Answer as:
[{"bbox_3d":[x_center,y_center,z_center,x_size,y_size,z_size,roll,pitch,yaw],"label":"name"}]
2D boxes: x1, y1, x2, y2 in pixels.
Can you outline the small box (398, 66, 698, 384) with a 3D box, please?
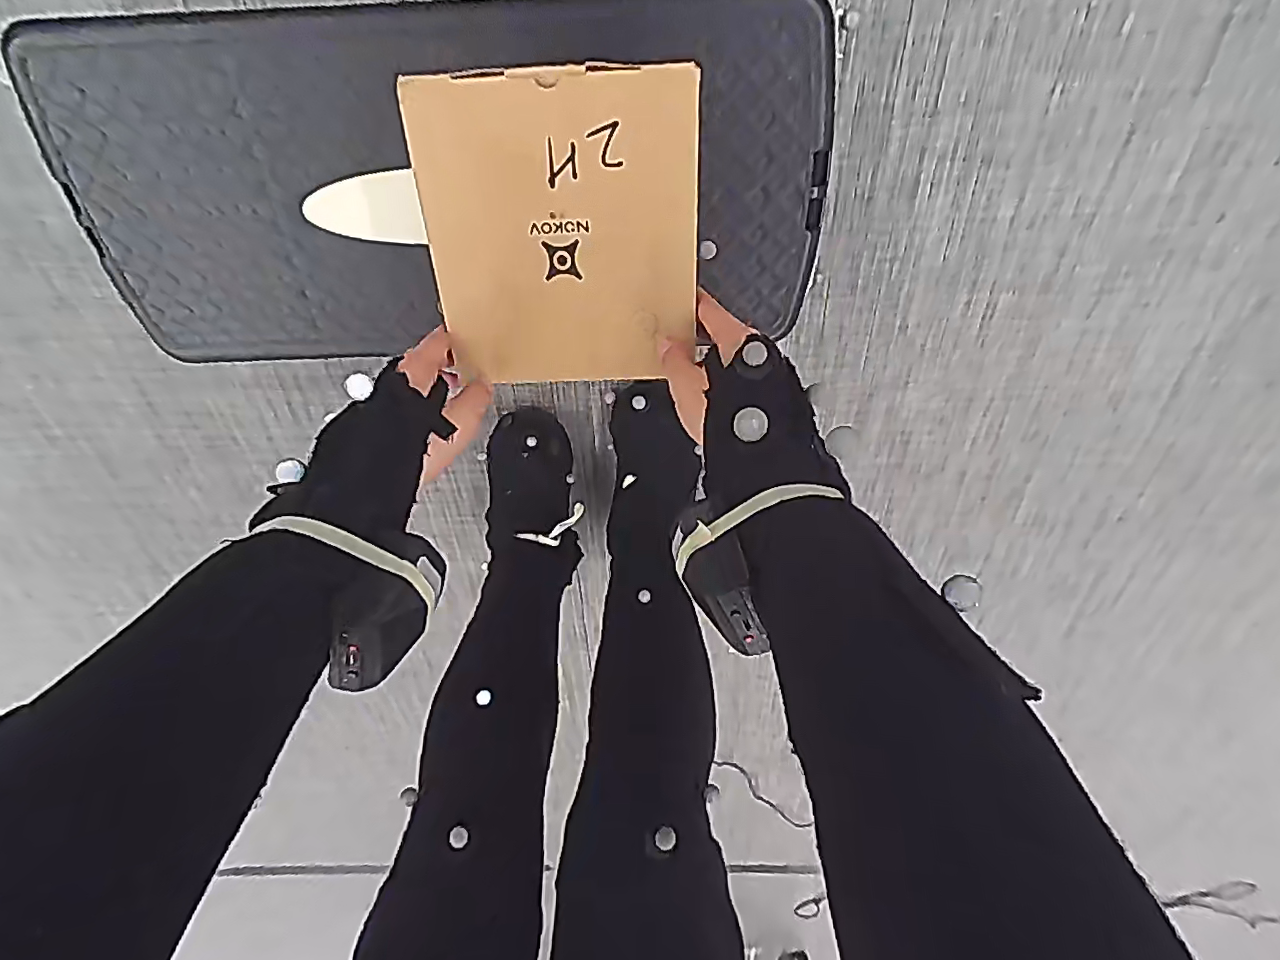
[{"bbox_3d":[-0.046,-0.182,0.400,0.168,0.176,0.179,-2,119,1],"label":"small box"}]
